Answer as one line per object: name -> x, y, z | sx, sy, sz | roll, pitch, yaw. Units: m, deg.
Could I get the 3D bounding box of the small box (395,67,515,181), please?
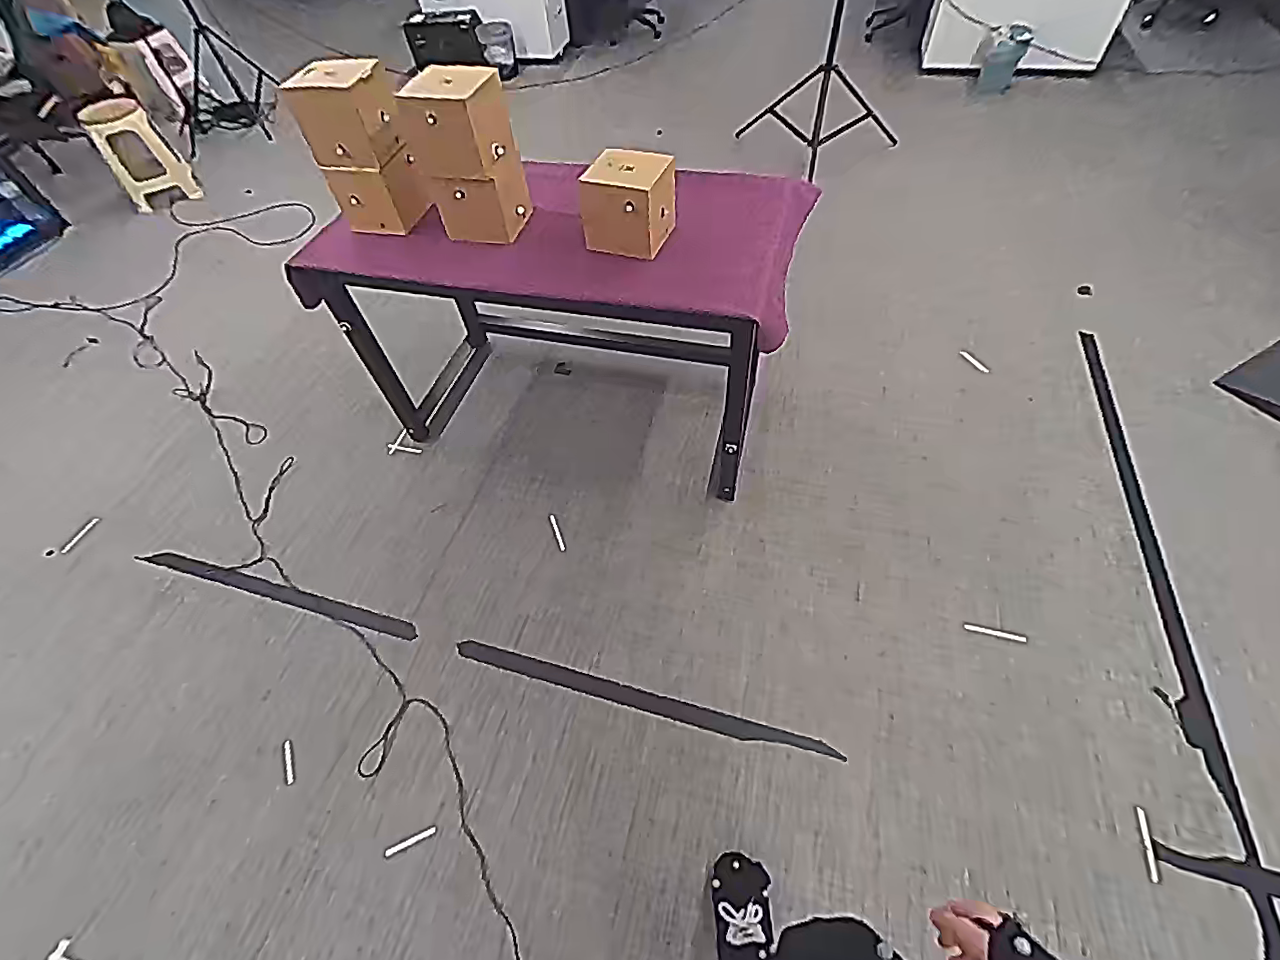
small box -> -0.408, -0.804, 1.224 | 0.179, 0.176, 0.168 | 12, 57, 11

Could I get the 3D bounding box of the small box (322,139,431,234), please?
small box -> -0.679, -0.768, 1.421 | 0.168, 0.176, 0.179 | 8, 55, 10

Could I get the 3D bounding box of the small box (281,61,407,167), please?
small box -> -0.693, -0.871, 1.293 | 0.179, 0.176, 0.168 | 7, 54, 8

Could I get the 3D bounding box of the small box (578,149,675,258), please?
small box -> -0.025, -0.653, 1.285 | 0.179, 0.176, 0.168 | 16, 56, 16

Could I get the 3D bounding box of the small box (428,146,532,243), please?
small box -> -0.394, -0.720, 1.363 | 0.179, 0.176, 0.168 | 9, 56, 10
